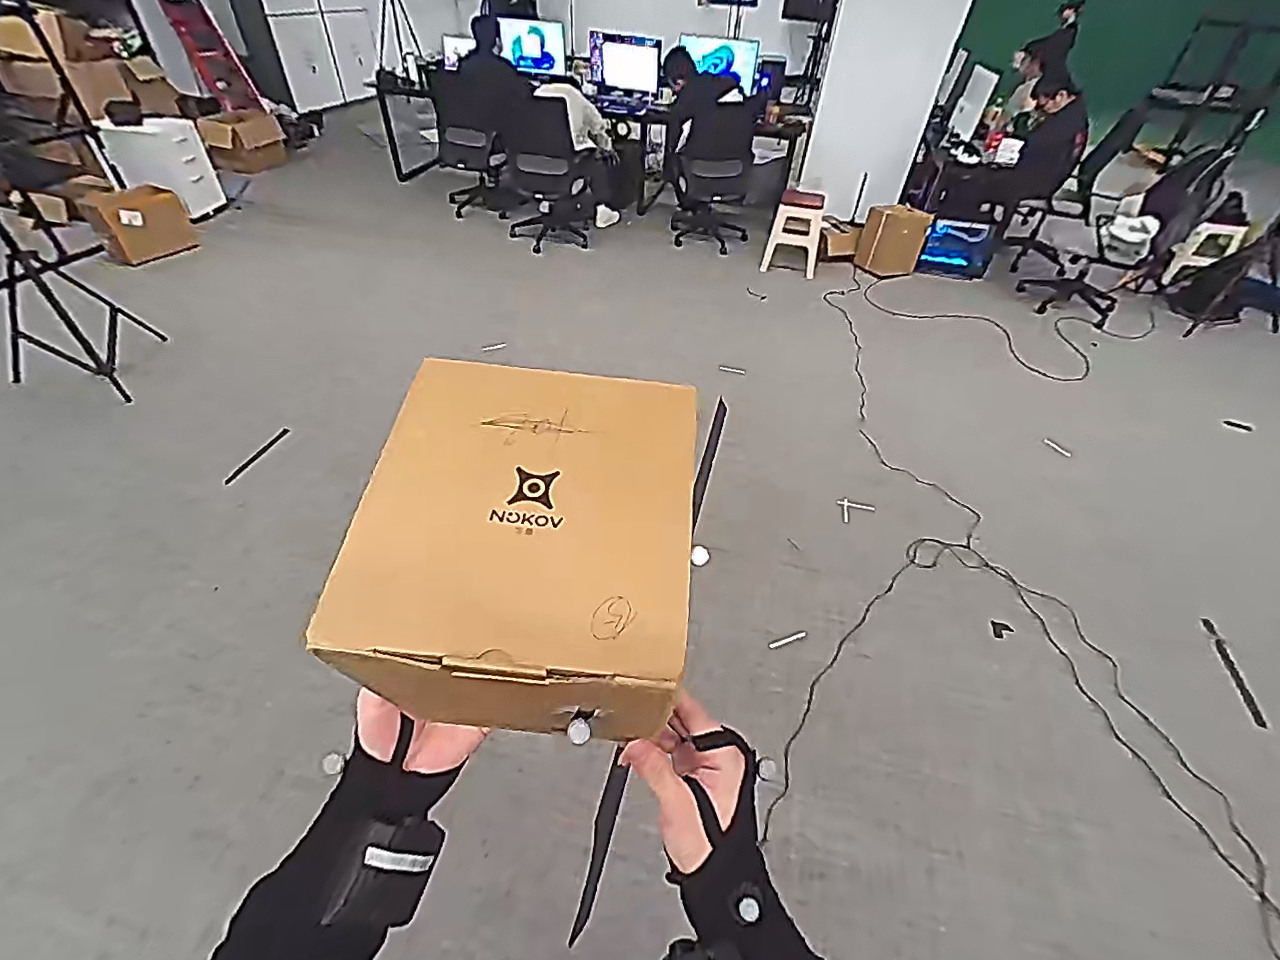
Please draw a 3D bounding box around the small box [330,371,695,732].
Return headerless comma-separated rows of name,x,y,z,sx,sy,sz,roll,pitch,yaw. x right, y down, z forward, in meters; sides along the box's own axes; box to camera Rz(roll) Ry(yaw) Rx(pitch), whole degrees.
small box,-0.058,0.056,0.355,0.168,0.176,0.179,6,55,-2
